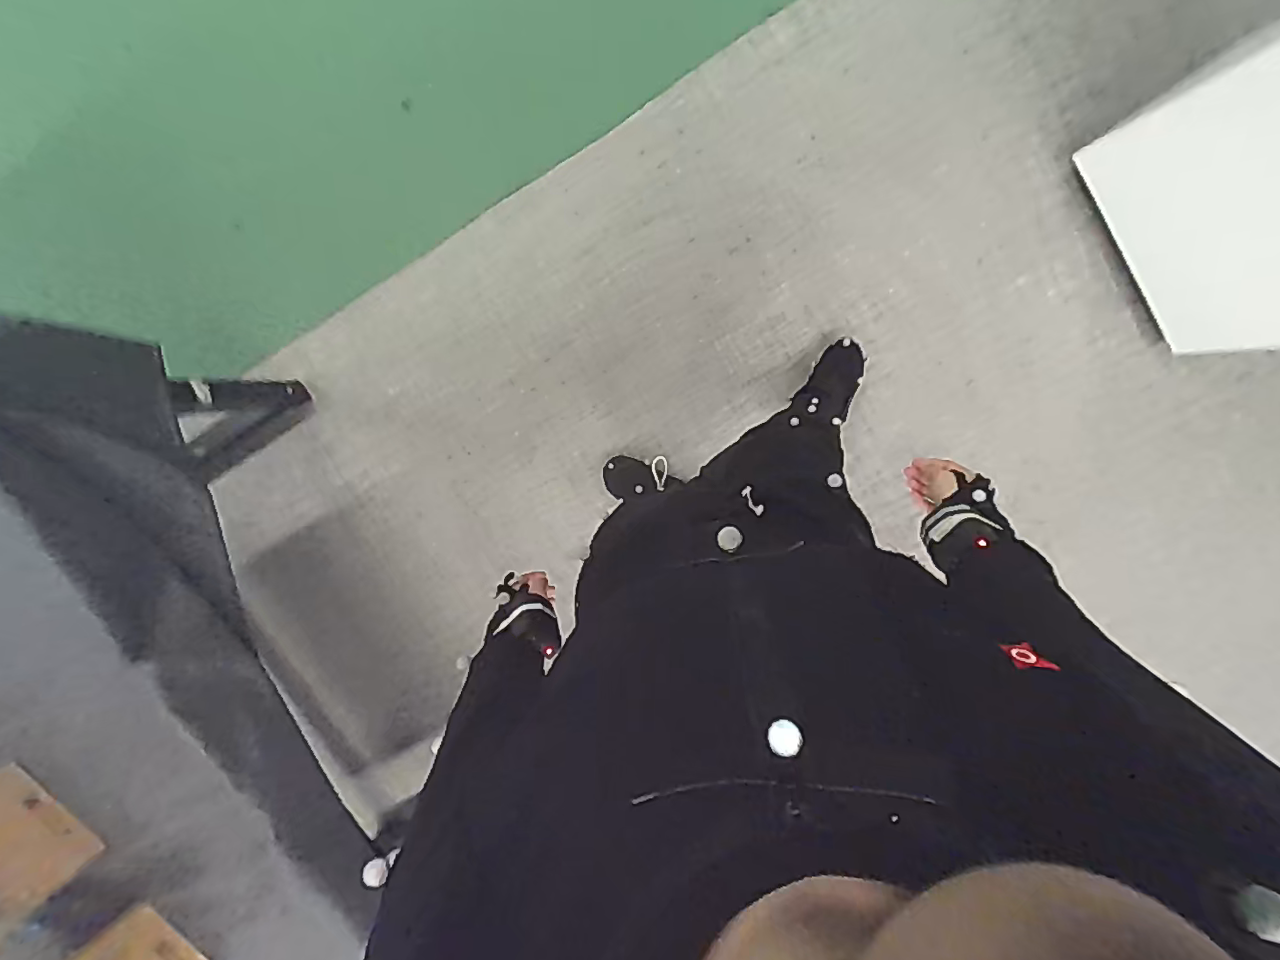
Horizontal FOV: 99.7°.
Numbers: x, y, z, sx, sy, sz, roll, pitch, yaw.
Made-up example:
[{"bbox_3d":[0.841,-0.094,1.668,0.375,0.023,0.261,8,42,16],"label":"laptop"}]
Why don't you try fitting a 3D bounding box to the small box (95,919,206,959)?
[{"bbox_3d":[-0.671,0.713,0.670,0.179,0.176,0.168,-40,97,7],"label":"small box"}]
